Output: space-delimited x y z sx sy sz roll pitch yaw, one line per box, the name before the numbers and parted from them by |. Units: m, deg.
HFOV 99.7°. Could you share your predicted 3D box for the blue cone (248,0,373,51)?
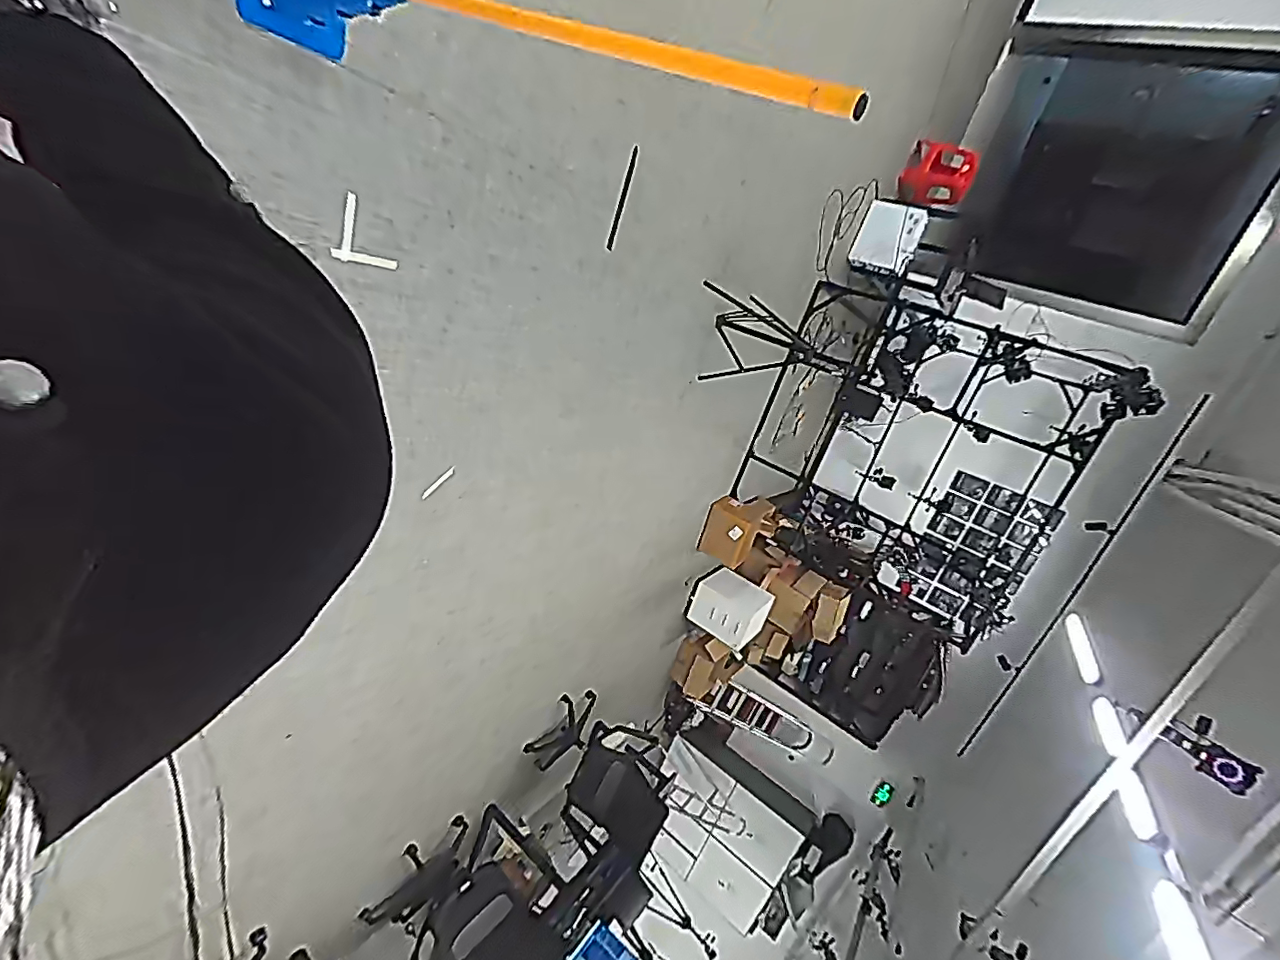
blue cone | -0.538 -0.909 0.984 0.193 0.380 0.192 -16 128 -55
